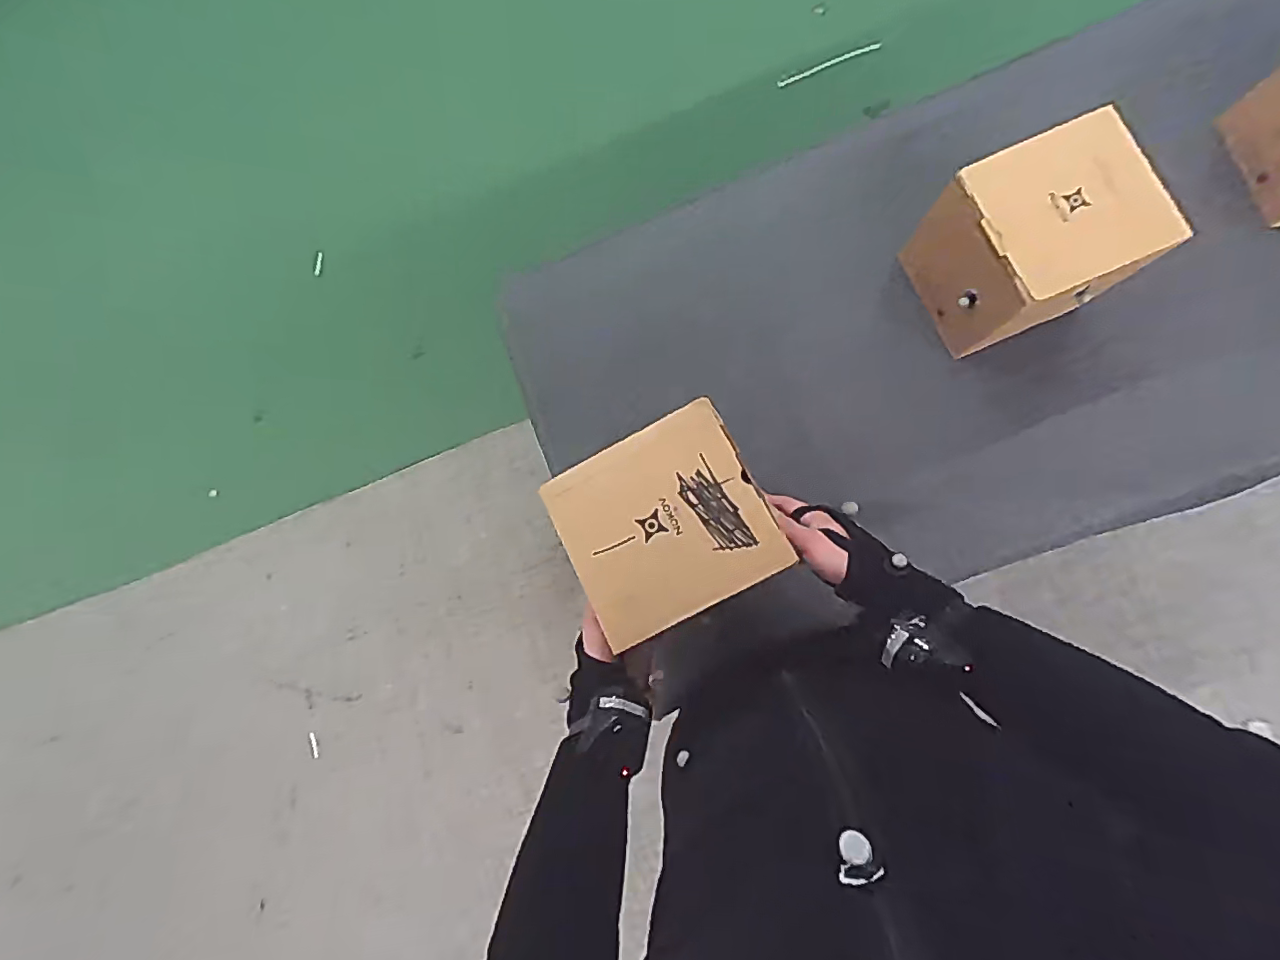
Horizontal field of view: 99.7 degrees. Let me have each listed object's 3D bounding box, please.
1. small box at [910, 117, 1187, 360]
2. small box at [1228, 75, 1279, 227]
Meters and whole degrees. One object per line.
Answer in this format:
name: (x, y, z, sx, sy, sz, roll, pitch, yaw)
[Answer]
small box: (0.451, -0.266, 0.639, 0.179, 0.176, 0.168, -24, 82, 0)
small box: (0.856, -0.428, 0.623, 0.179, 0.176, 0.168, -17, 81, 3)
